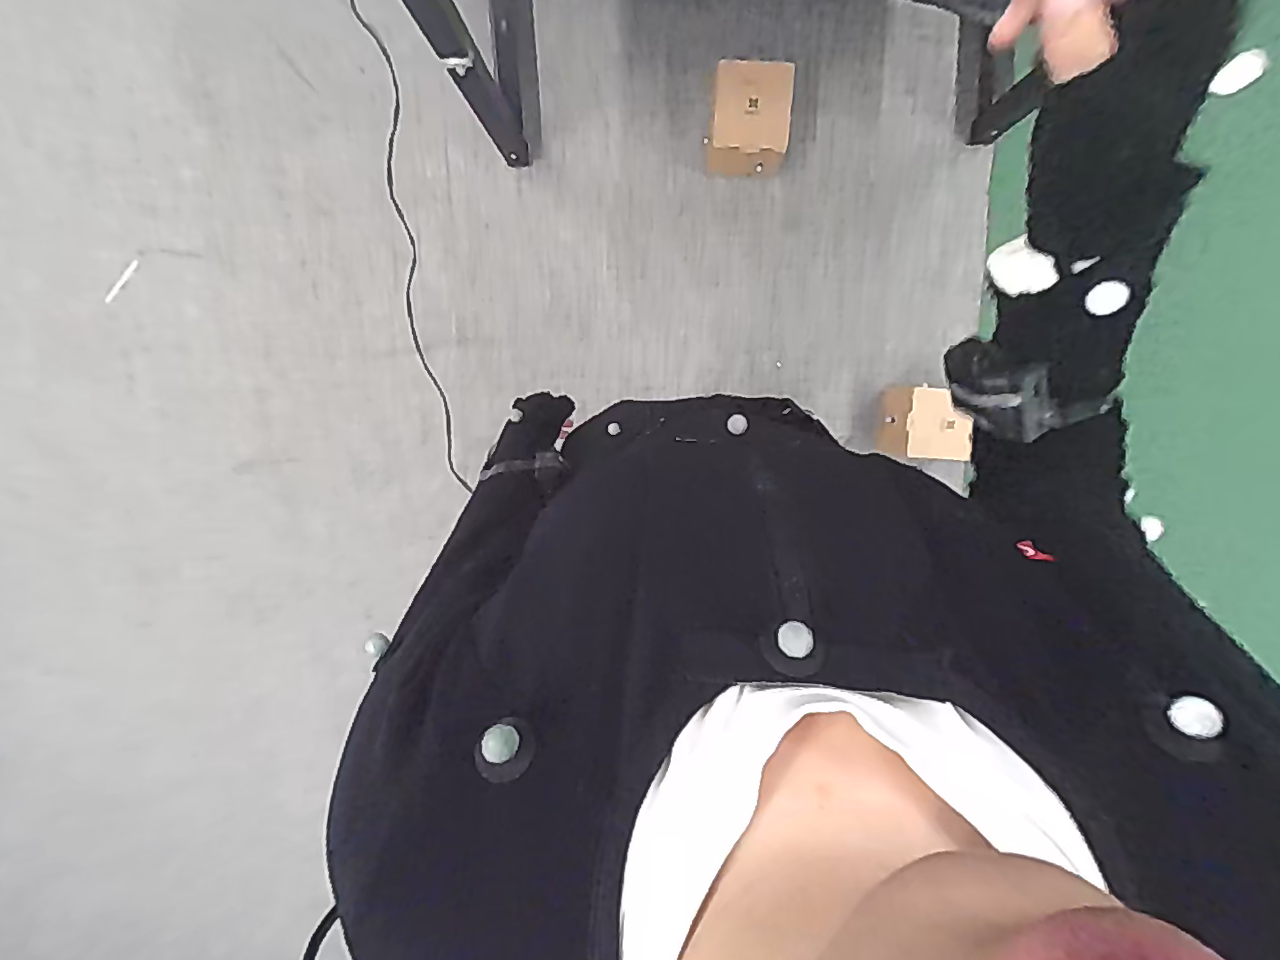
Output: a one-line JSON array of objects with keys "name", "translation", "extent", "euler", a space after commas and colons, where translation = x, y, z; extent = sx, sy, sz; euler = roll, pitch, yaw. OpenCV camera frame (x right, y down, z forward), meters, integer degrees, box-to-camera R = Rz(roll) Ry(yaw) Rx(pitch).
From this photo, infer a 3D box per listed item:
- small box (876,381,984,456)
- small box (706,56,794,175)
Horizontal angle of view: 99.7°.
[{"name": "small box", "translation": [0.709, -0.154, 1.343], "extent": [0.179, 0.176, 0.168], "euler": [4, 100, 2]}, {"name": "small box", "translation": [0.246, -0.828, 1.245], "extent": [0.168, 0.176, 0.179], "euler": [3, 98, 1]}]
